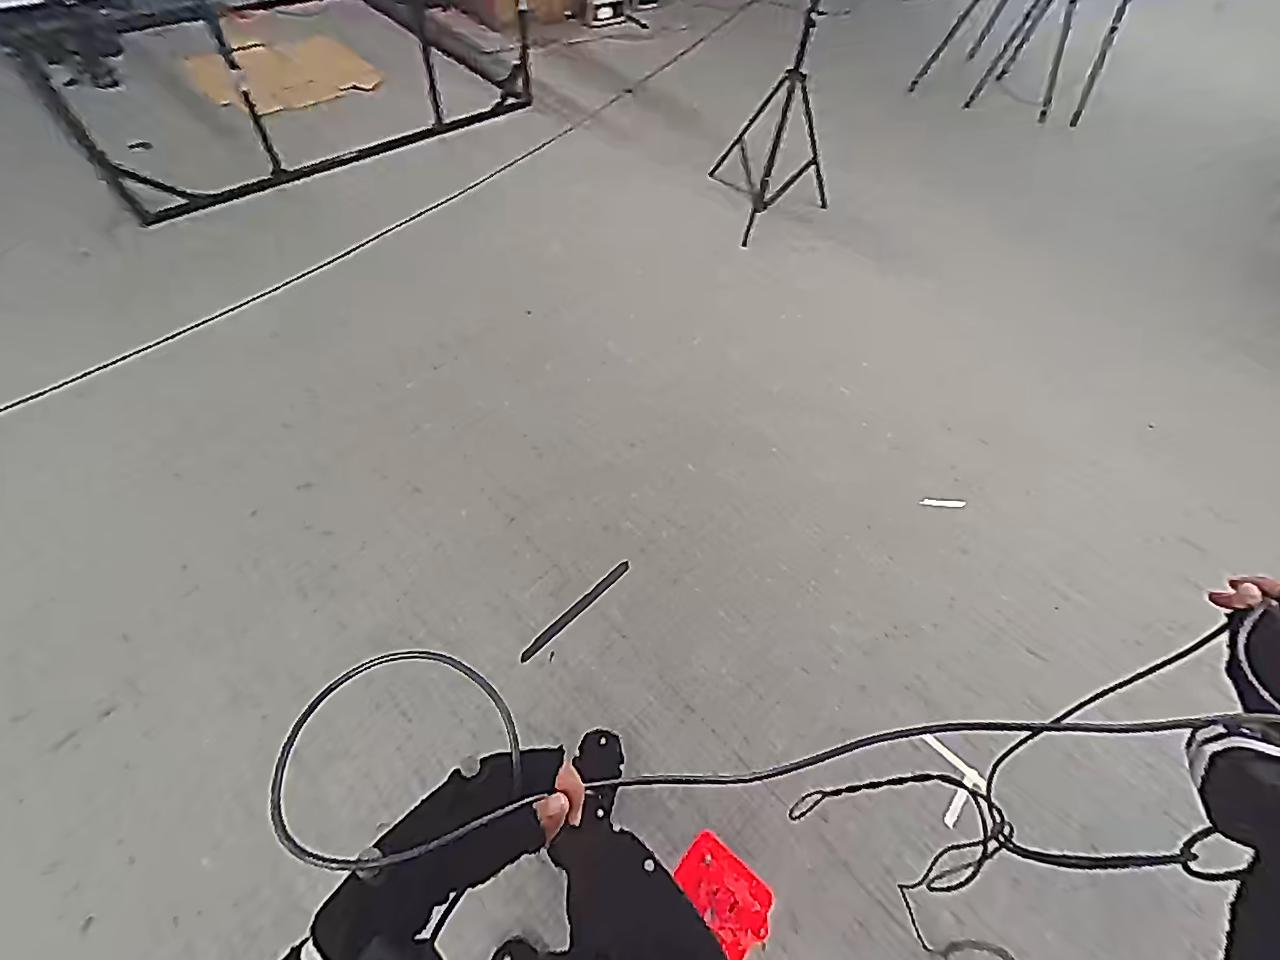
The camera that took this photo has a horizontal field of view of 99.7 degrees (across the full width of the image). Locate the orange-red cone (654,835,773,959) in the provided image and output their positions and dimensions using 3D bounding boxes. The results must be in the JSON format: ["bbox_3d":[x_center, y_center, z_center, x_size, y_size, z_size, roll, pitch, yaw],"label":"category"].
[{"bbox_3d":[0.165,0.800,0.987,0.198,0.360,0.199,38,62,19],"label":"orange-red cone"}]
